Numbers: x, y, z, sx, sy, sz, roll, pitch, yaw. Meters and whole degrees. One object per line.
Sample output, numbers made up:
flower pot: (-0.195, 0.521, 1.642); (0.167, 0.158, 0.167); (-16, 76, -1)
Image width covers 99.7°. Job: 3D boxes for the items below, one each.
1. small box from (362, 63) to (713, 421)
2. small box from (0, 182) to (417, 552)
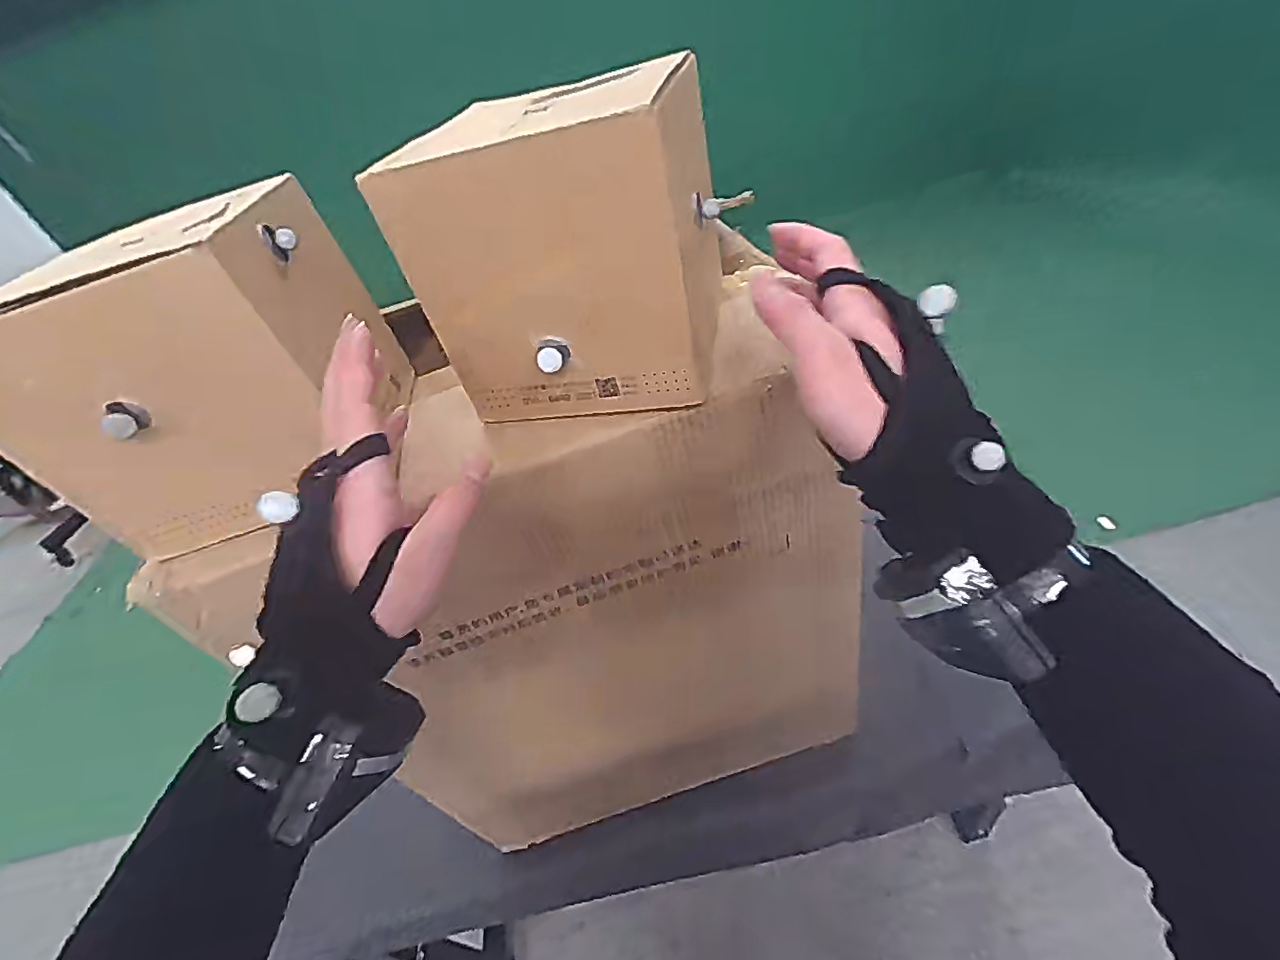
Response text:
small box: (-0.043, -0.162, 0.383); (0.168, 0.176, 0.179); (-3, 43, 16)
small box: (-0.289, -0.076, 0.382); (0.179, 0.176, 0.168); (-21, 42, 1)
